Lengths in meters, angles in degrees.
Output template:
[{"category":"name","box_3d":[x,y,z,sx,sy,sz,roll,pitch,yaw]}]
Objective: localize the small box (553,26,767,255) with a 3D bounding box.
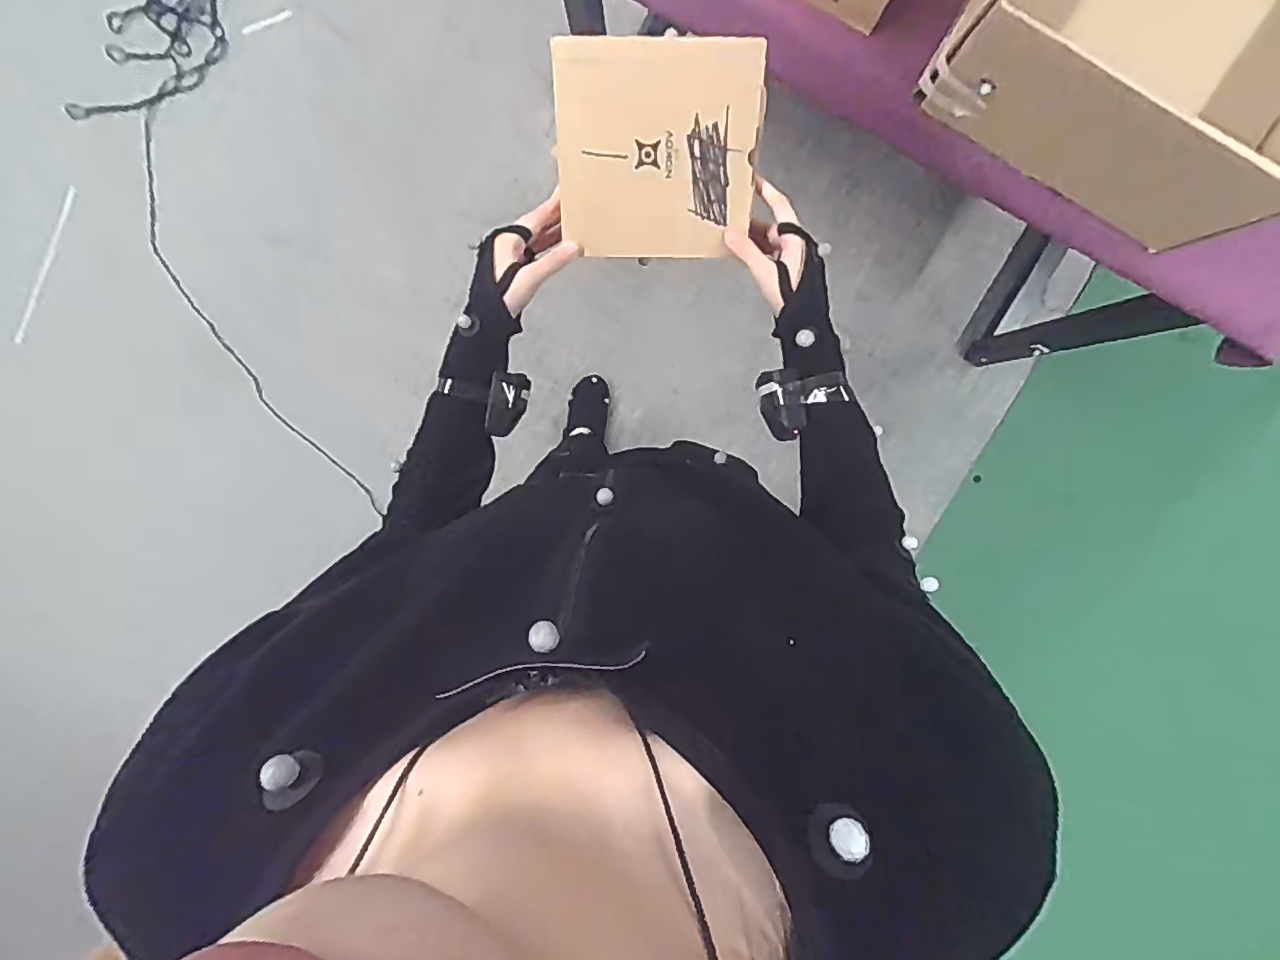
[{"category":"small box","box_3d":[0.012,-0.324,0.538,0.179,0.176,0.168,0,118,-2]}]

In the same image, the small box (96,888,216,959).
[{"category":"small box","box_3d":[-1.157,1.120,1.261,0.179,0.176,0.168,-42,93,7]}]

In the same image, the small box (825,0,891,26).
[{"category":"small box","box_3d":[0.268,-0.681,0.609,0.168,0.176,0.179,31,95,-2]}]
